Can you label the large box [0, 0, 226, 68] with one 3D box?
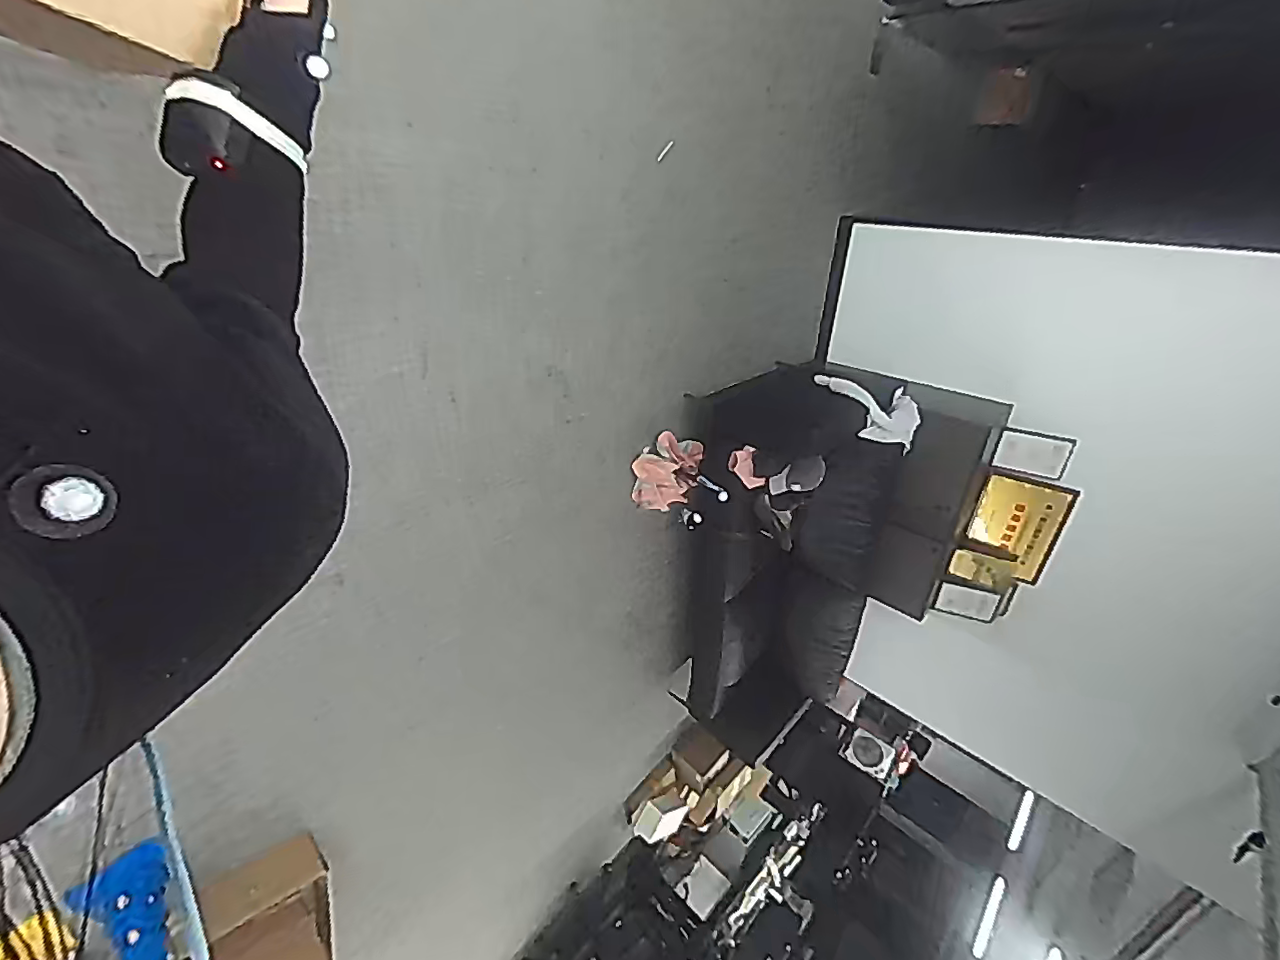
[{"bbox_3d":[-0.533,-0.507,0.308,0.408,0.320,0.320,-14,123,-56],"label":"large box"}]
